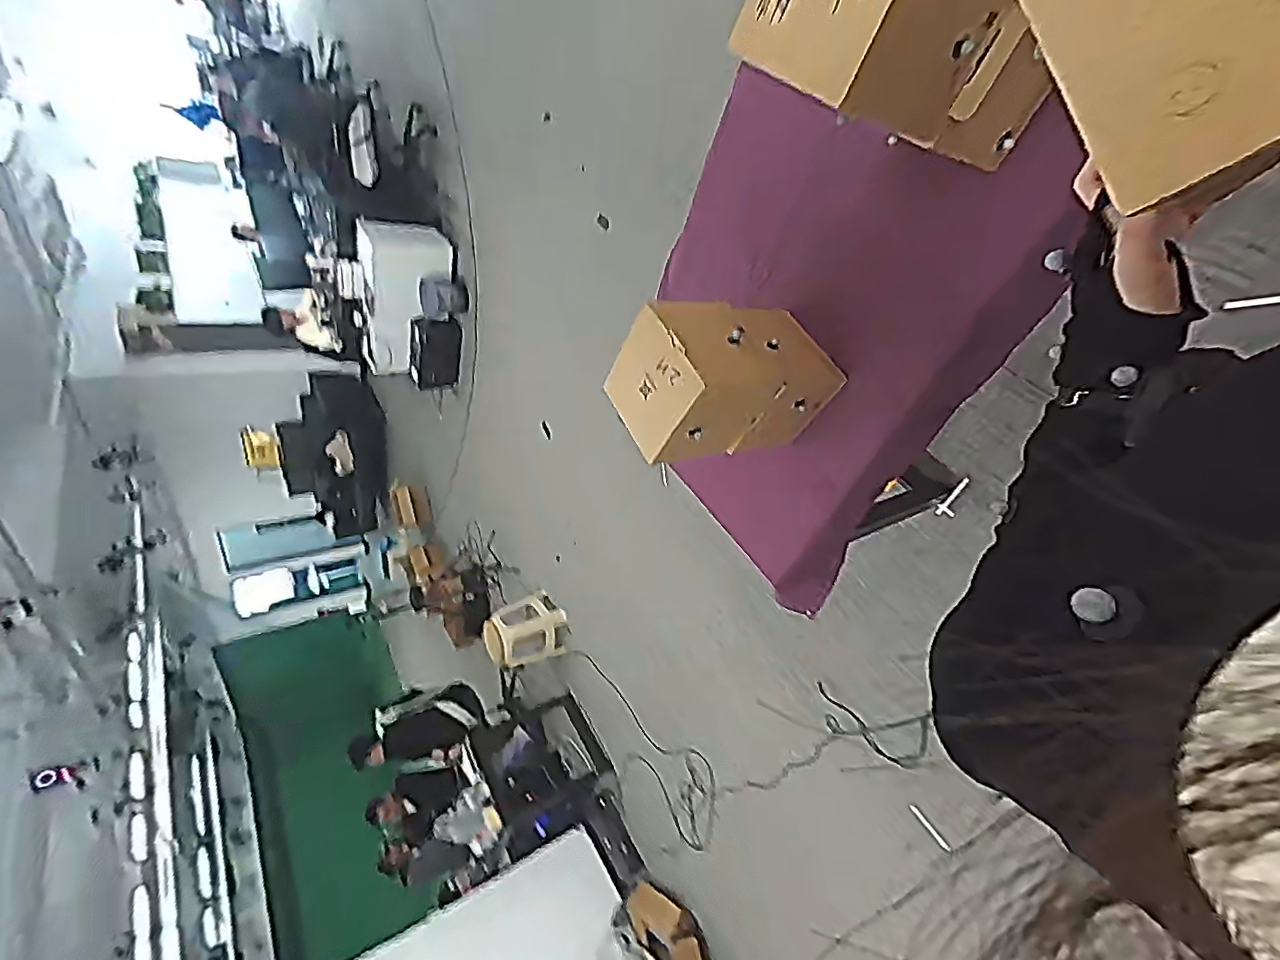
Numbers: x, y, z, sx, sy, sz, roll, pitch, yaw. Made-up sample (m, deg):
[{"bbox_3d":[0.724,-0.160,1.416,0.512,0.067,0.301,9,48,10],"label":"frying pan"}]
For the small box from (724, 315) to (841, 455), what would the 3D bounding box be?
[{"bbox_3d":[0.204,-0.169,0.927,0.179,0.176,0.168,59,140,24],"label":"small box"}]

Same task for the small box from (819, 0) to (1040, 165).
[{"bbox_3d":[0.355,-0.486,0.622,0.179,0.176,0.168,54,138,31],"label":"small box"}]

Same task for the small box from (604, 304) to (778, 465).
[{"bbox_3d":[0.075,-0.146,0.828,0.168,0.176,0.179,59,140,23],"label":"small box"}]

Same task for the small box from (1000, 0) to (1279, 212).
[{"bbox_3d":[0.284,-0.240,0.224,0.179,0.176,0.168,-24,92,54],"label":"small box"}]
